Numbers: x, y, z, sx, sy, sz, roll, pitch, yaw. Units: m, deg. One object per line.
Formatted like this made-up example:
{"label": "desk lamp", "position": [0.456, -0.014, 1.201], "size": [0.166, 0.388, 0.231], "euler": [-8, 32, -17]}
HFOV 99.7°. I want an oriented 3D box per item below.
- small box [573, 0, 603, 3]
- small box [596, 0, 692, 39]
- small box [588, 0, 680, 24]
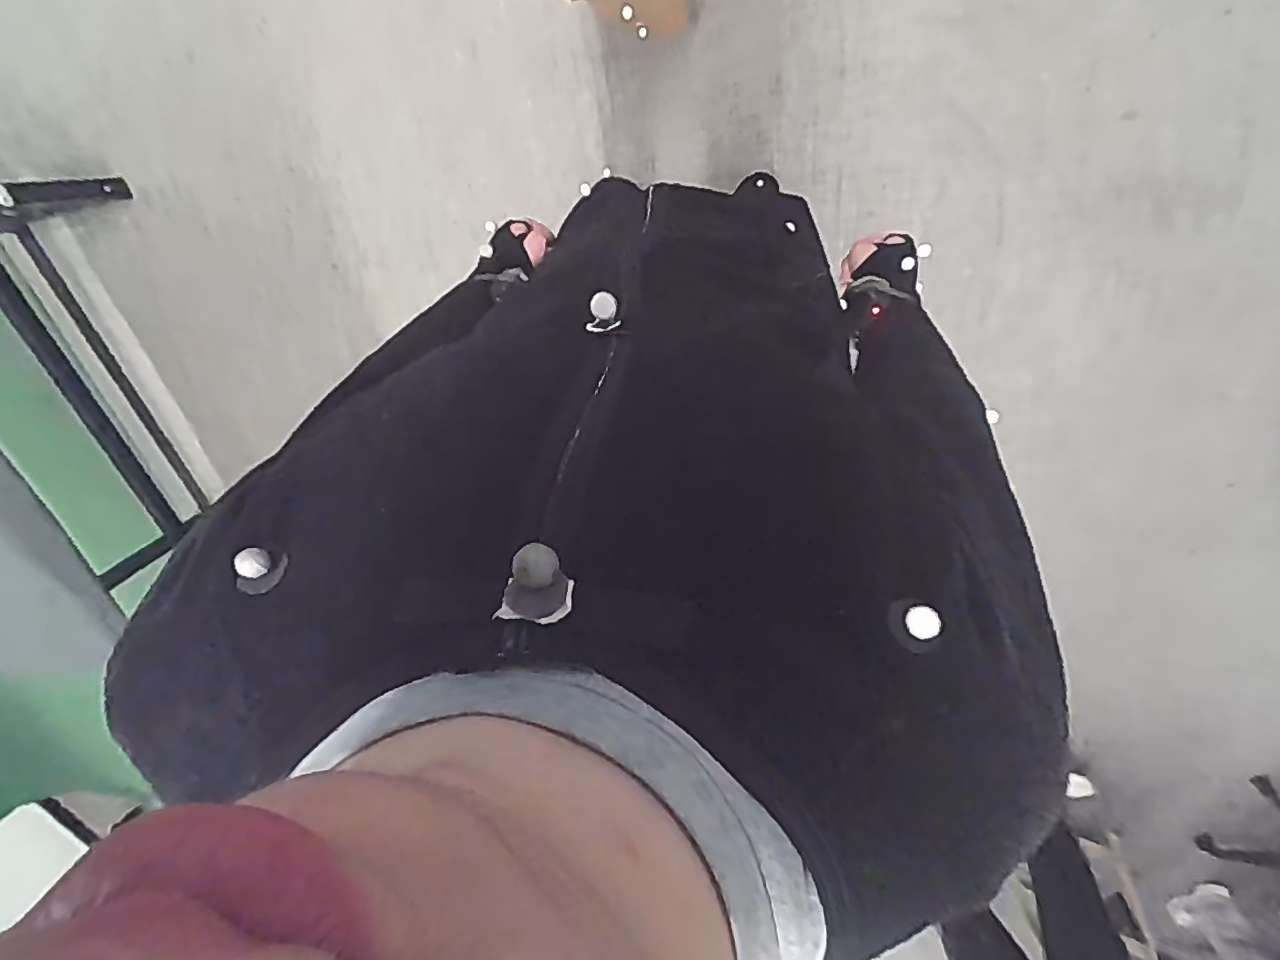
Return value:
{"label": "small box", "position": [-0.057, -0.833, 0.793], "size": [0.168, 0.176, 0.179], "euler": [2, 120, 12]}
{"label": "small box", "position": [0.014, -0.999, 1.065], "size": [0.168, 0.176, 0.179], "euler": [9, 122, 9]}
{"label": "small box", "position": [-0.016, -0.917, 0.926], "size": [0.168, 0.176, 0.179], "euler": [10, 122, 8]}
